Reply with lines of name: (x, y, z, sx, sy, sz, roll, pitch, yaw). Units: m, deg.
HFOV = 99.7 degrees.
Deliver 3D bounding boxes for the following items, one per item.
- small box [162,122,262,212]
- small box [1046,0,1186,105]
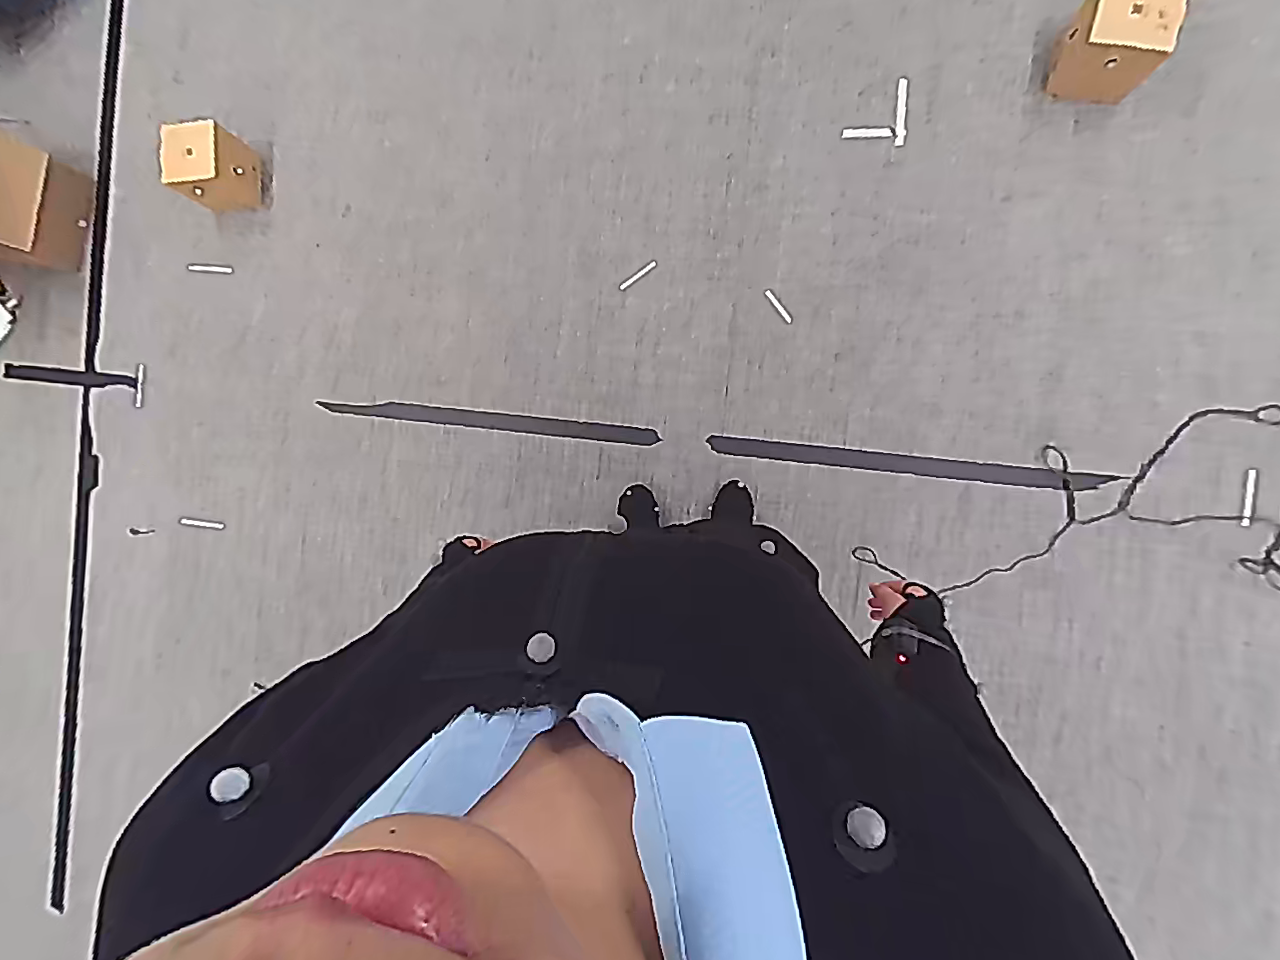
small box: (-1.259, -0.920, 1.602, 0.179, 0.176, 0.168, -1, 90, 8)
small box: (1.112, -1.027, 1.275, 0.179, 0.176, 0.168, 15, 93, 7)
